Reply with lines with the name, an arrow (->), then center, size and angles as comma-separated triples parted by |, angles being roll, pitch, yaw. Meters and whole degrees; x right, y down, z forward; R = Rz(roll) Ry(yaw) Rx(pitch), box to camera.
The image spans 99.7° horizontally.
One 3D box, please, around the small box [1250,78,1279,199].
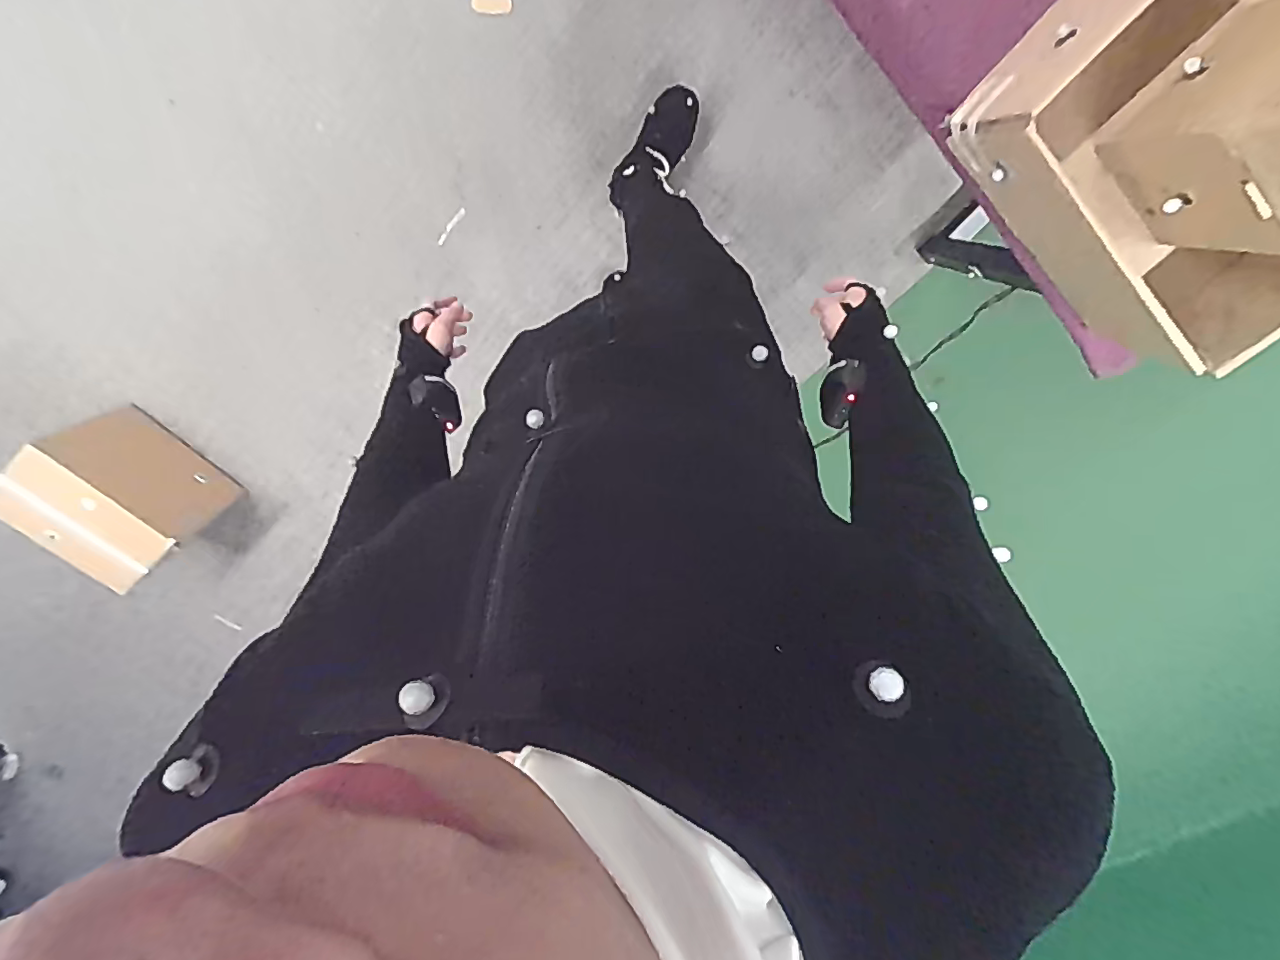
small box -> 0.643, -0.295, 0.409 | 0.168, 0.176, 0.179 | 37, 112, -16
